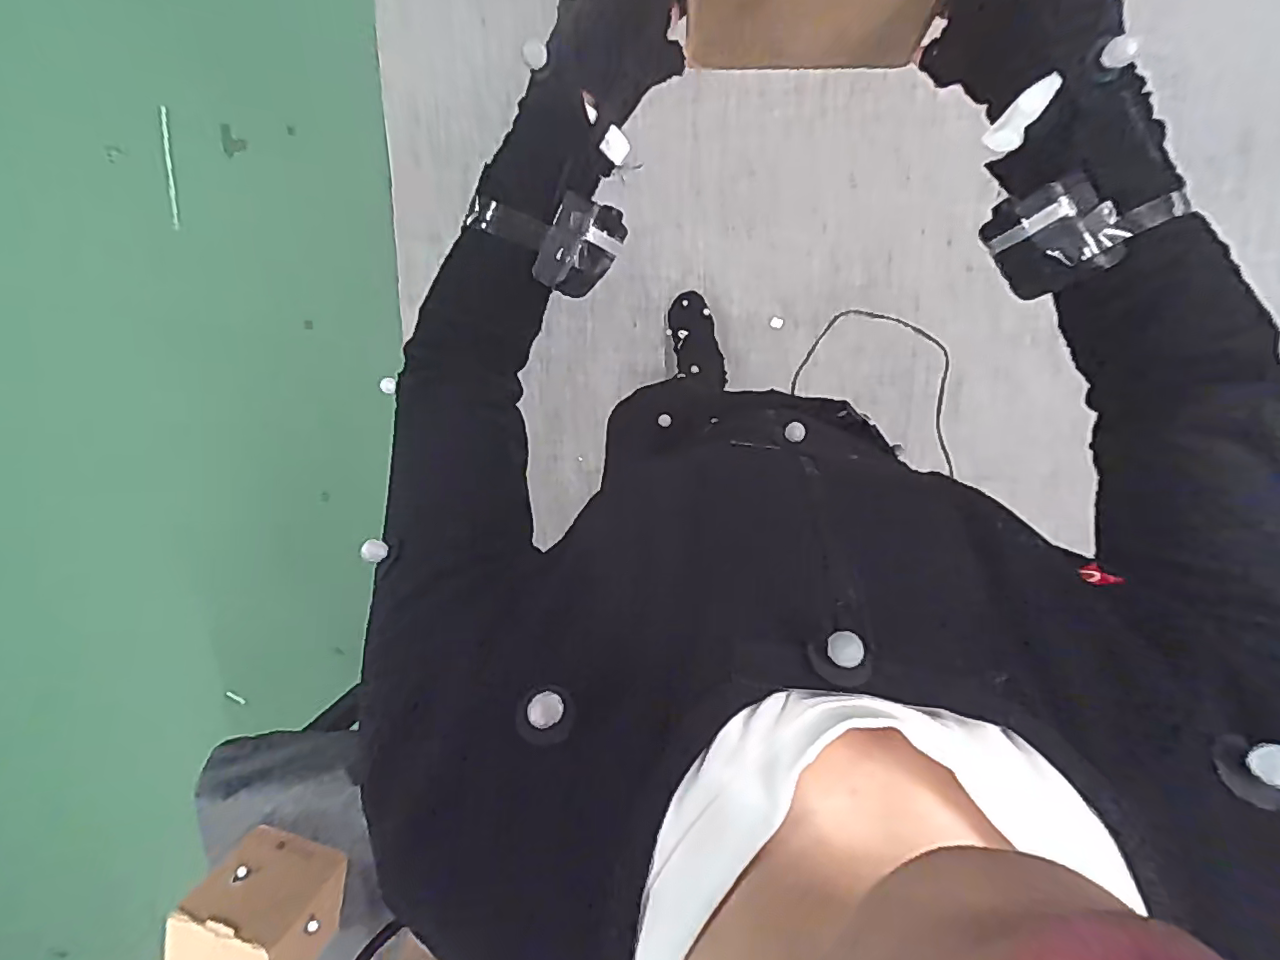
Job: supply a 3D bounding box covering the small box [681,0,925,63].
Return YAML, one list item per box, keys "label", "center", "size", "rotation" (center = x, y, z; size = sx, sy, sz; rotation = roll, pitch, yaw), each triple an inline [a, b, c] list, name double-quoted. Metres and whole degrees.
- label: "small box"
  center: [0.115, -0.407, 0.347]
  size: [0.179, 0.176, 0.168]
  rotation: [4, 95, 7]

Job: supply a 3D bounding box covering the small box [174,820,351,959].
- label: "small box"
  center: [-0.592, 0.694, 0.864]
  size: [0.168, 0.176, 0.179]
  rotation: [14, 104, 7]
